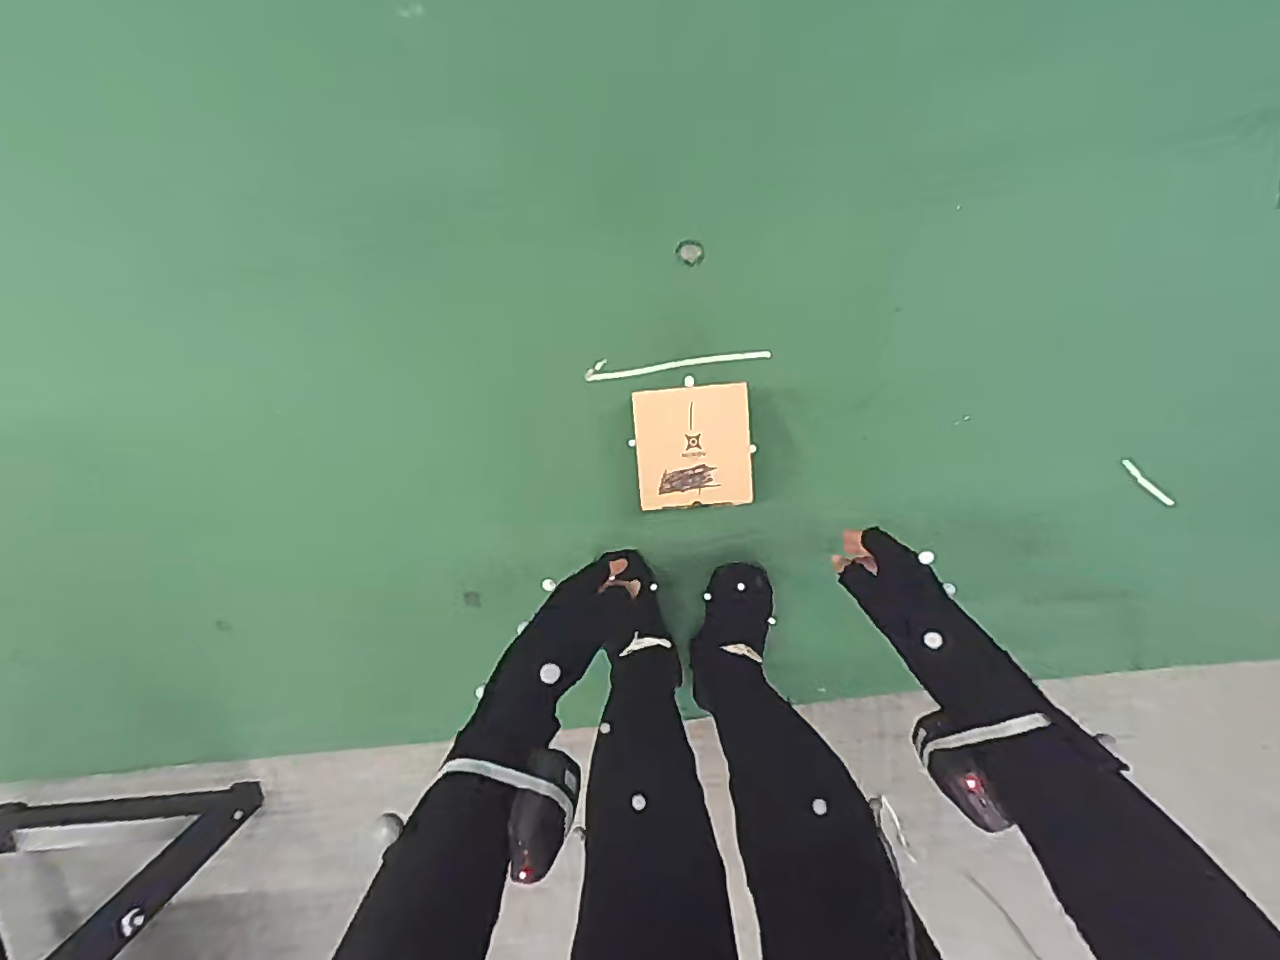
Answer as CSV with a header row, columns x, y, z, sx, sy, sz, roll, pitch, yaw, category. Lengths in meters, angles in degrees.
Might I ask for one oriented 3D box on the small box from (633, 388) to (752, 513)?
x,y,z,sx,sy,sz,roll,pitch,yaw,category
0.082,-0.053,0.861,0.168,0.176,0.179,-5,98,3,small box
